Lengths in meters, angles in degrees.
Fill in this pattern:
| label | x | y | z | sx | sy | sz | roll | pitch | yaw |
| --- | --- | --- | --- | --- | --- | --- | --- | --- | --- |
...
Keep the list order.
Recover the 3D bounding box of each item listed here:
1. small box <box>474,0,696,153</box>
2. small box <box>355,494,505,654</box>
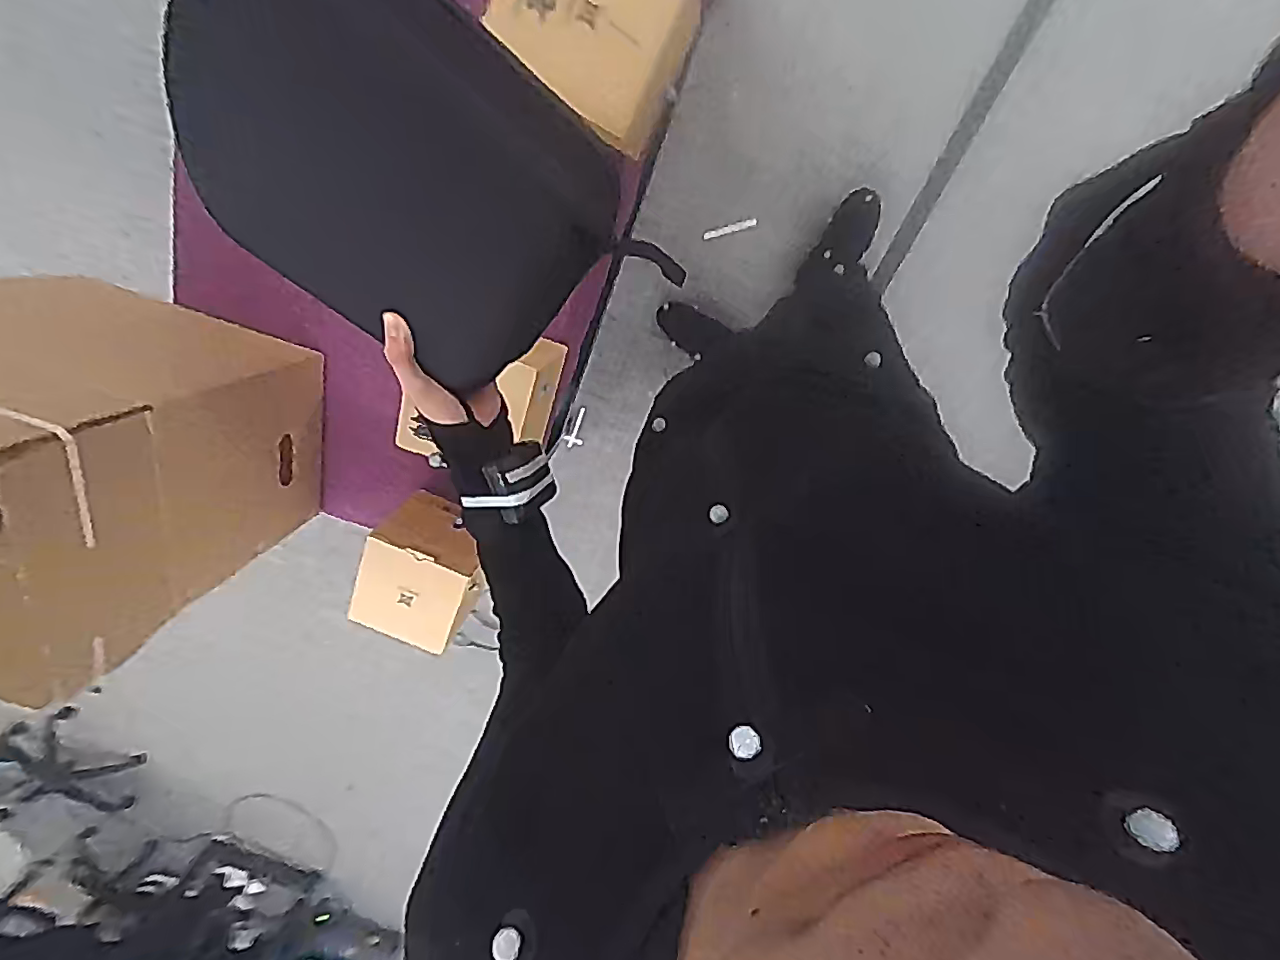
| label | x | y | z | sx | sy | sz | roll | pitch | yaw |
| --- | --- | --- | --- | --- | --- | --- | --- | --- | --- |
| small box | -0.051 | -0.495 | 0.604 | 0.179 | 0.176 | 0.168 | 27 | 114 | -7 |
| small box | -0.350 | 0.154 | 0.927 | 0.168 | 0.176 | 0.179 | 23 | 113 | -4 |
